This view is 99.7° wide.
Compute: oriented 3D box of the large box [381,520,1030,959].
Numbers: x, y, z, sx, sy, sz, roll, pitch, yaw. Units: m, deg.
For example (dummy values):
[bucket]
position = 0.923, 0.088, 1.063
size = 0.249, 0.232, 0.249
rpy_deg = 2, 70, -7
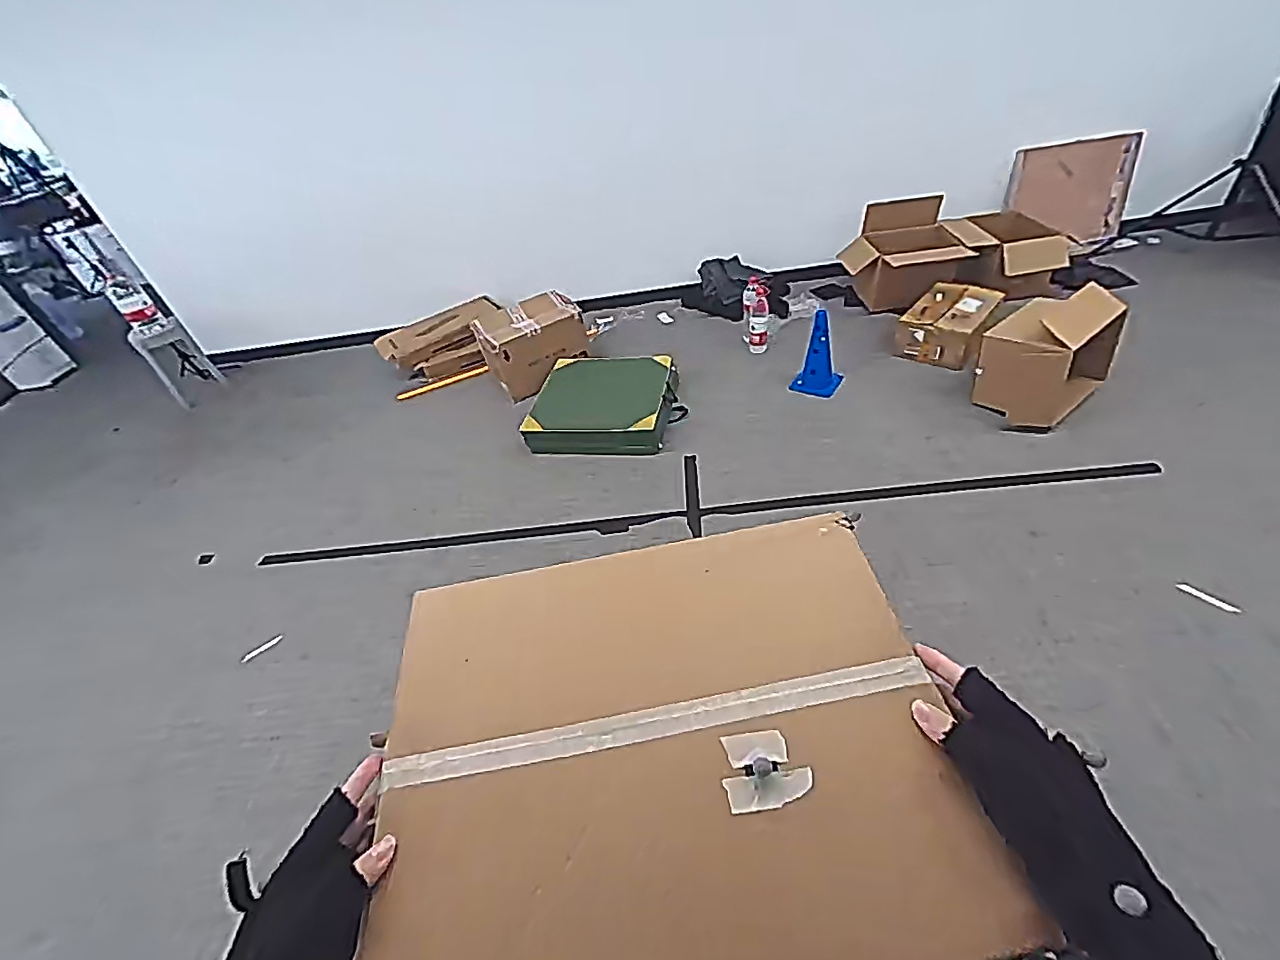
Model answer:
[large box]
position = 0.031, 0.284, 0.522
size = 0.408, 0.320, 0.320
rpy_deg = -10, 48, -1
